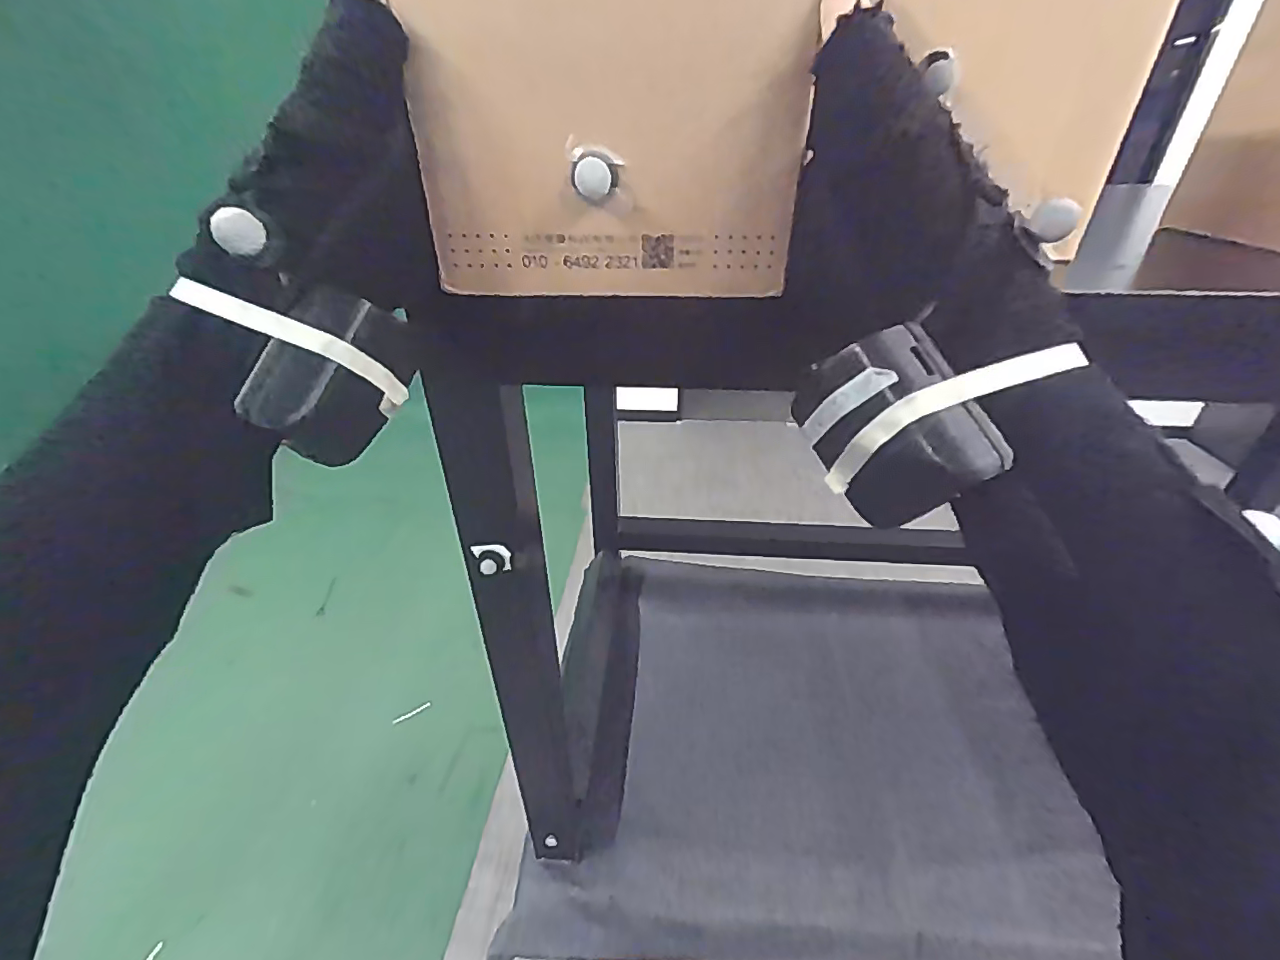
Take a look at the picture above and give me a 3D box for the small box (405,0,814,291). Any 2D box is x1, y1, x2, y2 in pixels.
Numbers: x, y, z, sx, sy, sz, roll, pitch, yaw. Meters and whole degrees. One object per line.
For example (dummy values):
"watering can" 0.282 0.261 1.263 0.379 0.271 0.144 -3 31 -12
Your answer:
"small box" -0.013 -0.209 0.288 0.168 0.176 0.179 1 33 1
